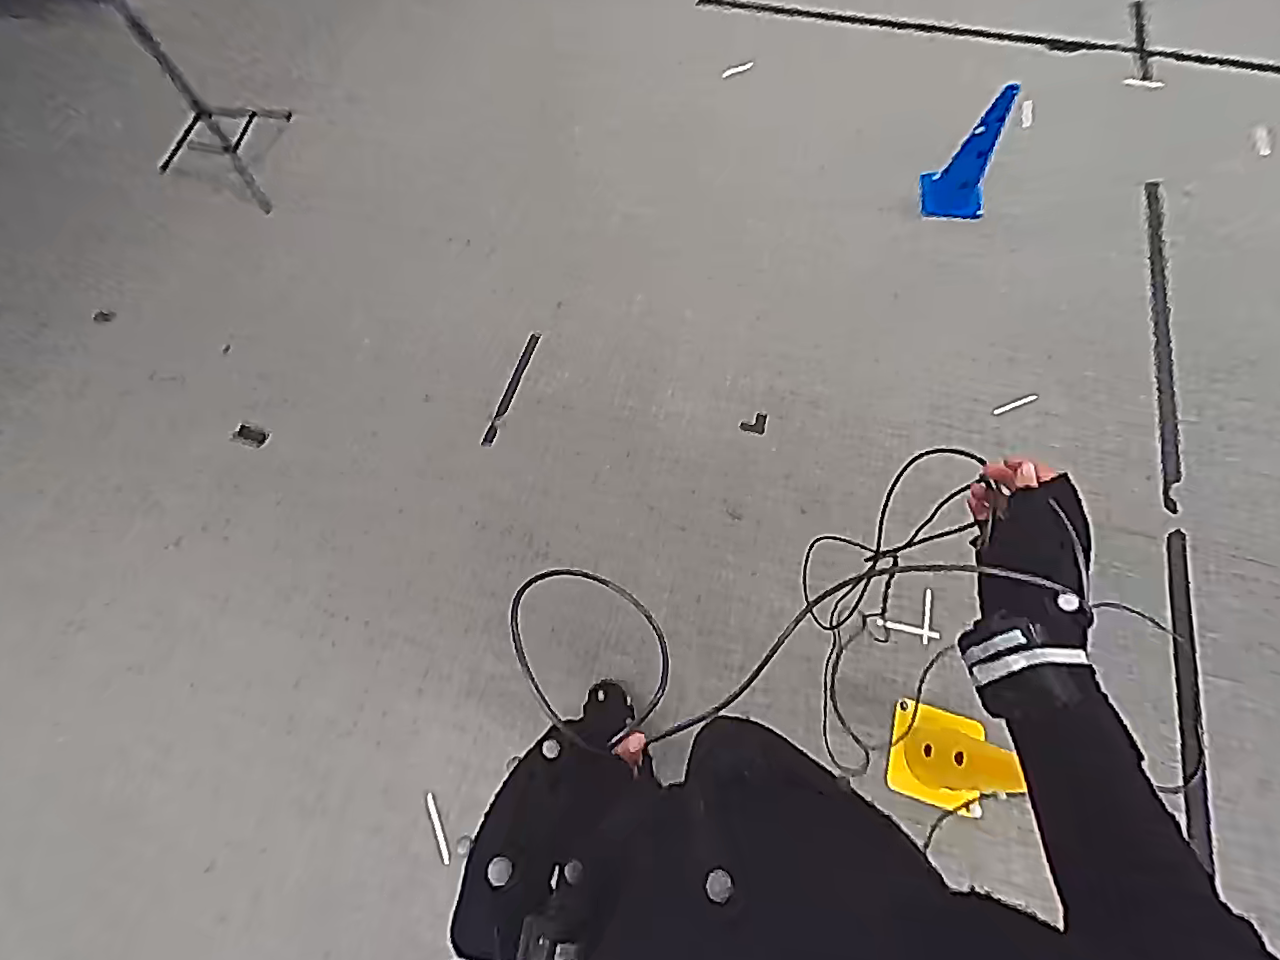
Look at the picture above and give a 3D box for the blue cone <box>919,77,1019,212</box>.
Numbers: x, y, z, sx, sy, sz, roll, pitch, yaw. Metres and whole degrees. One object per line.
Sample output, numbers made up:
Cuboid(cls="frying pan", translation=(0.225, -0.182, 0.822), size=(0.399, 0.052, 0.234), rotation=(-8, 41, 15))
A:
Cuboid(cls="blue cone", translation=(1.043, -1.051, 1.689), size=(0.192, 0.380, 0.193), rotation=(8, 69, 5))
